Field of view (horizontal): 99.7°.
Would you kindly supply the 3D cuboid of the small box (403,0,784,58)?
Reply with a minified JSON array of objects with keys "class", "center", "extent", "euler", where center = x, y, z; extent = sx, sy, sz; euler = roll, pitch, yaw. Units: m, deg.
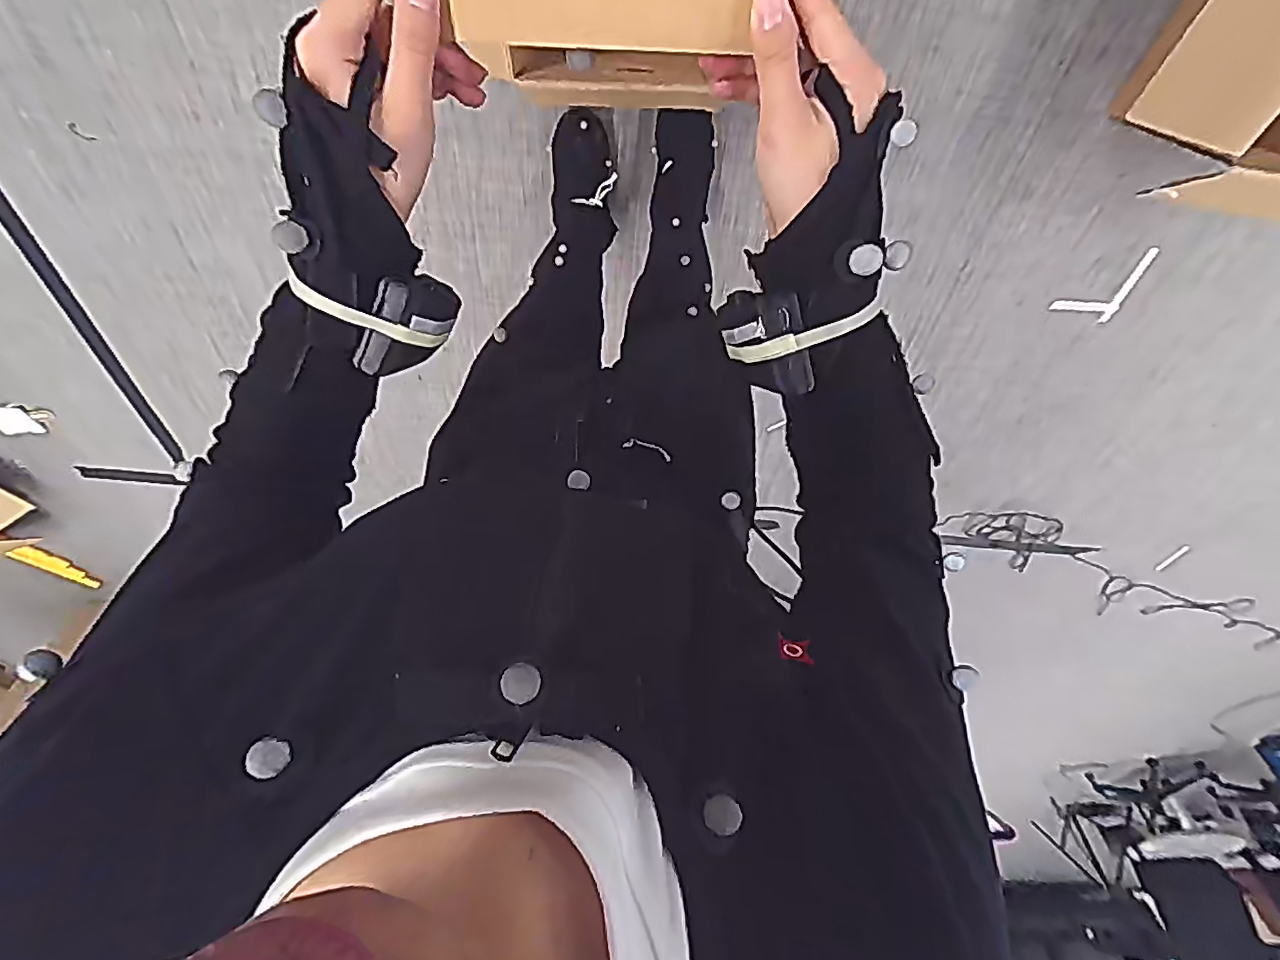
[{"class":"small box","center":[-0.021,-0.321,0.252],"extent":[0.179,0.176,0.168],"euler":[0,137,-3]}]
